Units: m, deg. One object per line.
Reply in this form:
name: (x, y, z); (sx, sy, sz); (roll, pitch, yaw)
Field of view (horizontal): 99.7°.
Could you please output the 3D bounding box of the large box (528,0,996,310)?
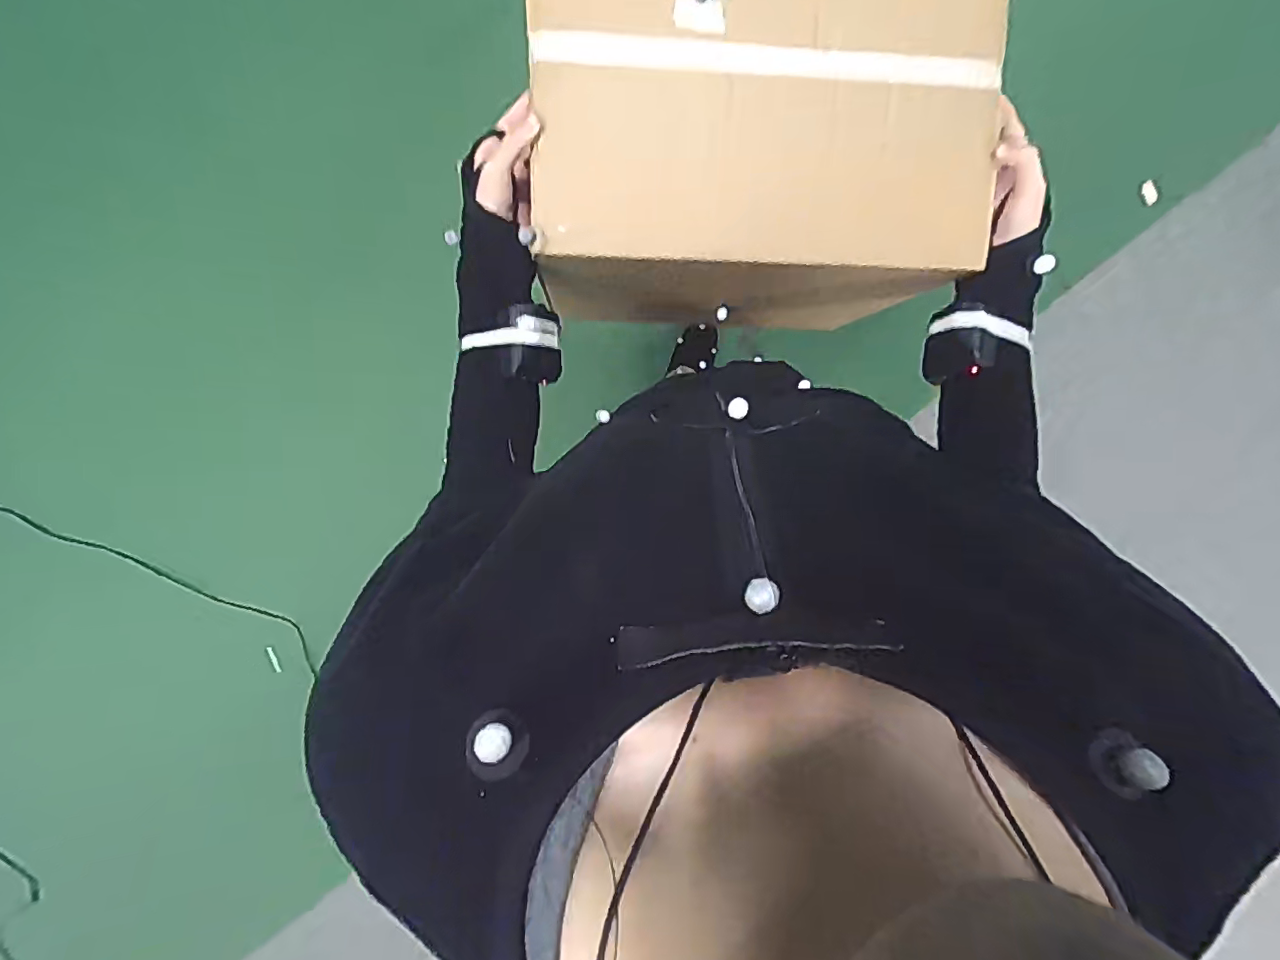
large box: (0.097, -0.374, 0.605); (0.408, 0.320, 0.320); (1, 97, -5)
